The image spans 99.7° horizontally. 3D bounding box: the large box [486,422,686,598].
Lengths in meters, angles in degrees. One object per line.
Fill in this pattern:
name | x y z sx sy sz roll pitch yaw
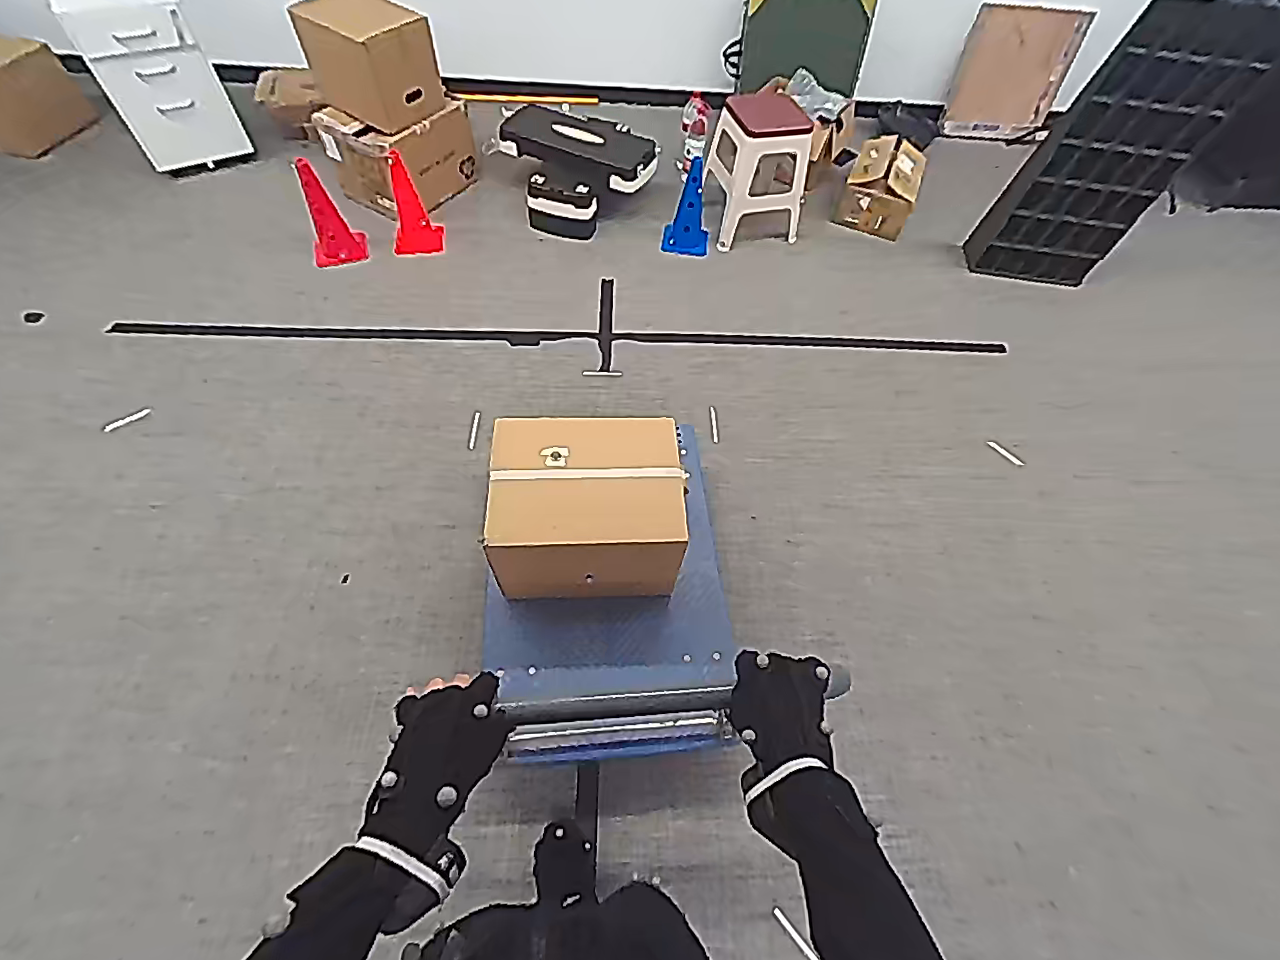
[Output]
large box | -0.120 0.079 1.277 0.408 0.320 0.320 -1 59 -4
